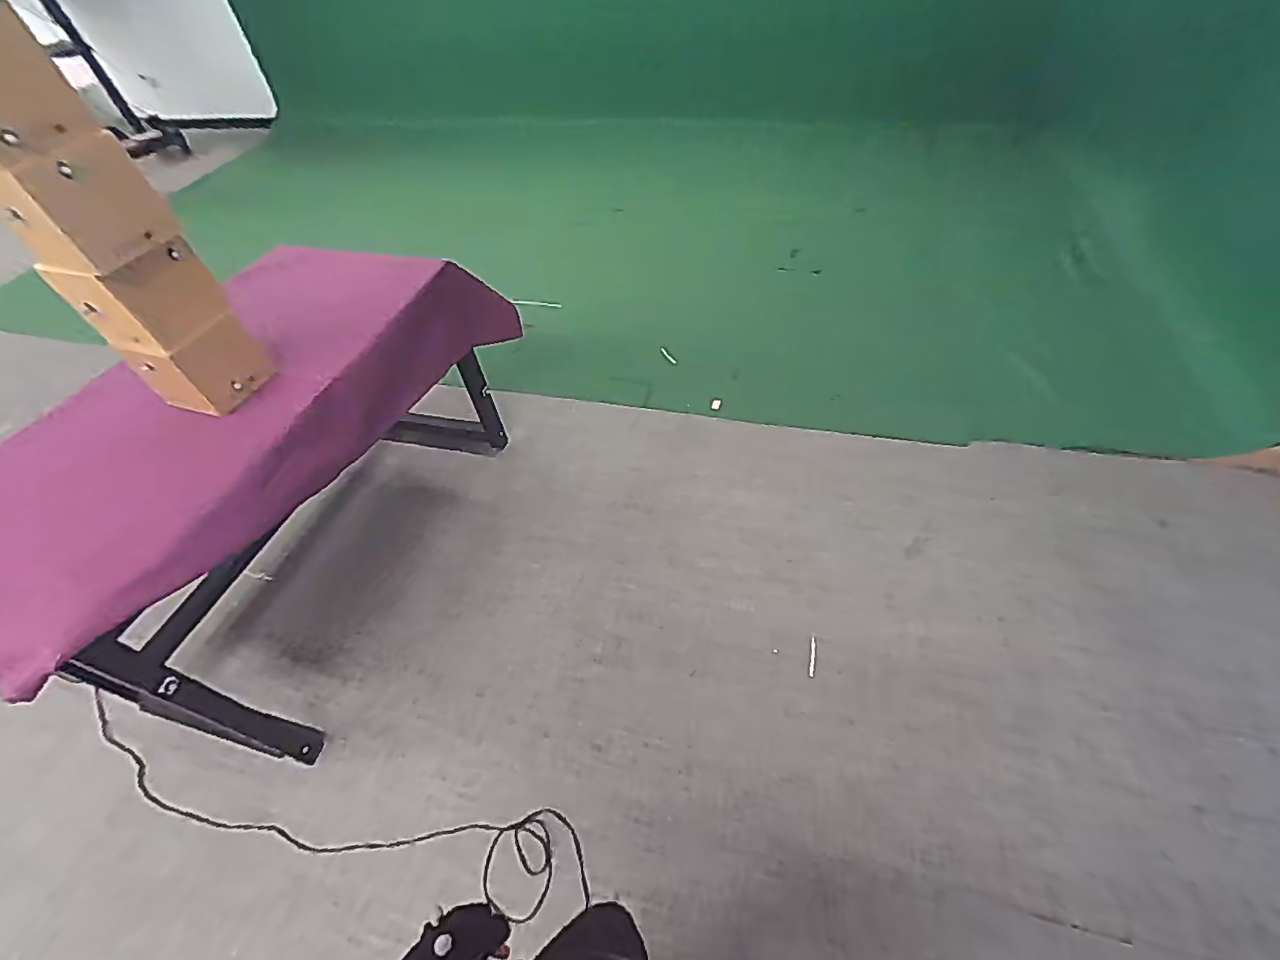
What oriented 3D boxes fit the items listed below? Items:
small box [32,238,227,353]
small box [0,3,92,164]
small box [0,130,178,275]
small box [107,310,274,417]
[{"bbox_3d":[-0.964,-0.365,1.042,0.168,0.176,0.179,12,53,15],"label":"small box"},{"bbox_3d":[-0.984,-0.571,0.786,0.179,0.176,0.168,10,52,16],"label":"small box"},{"bbox_3d":[-0.956,-0.465,0.910,0.179,0.176,0.168,13,54,18],"label":"small box"},{"bbox_3d":[-0.951,-0.257,1.161,0.179,0.176,0.168,13,54,16],"label":"small box"}]
